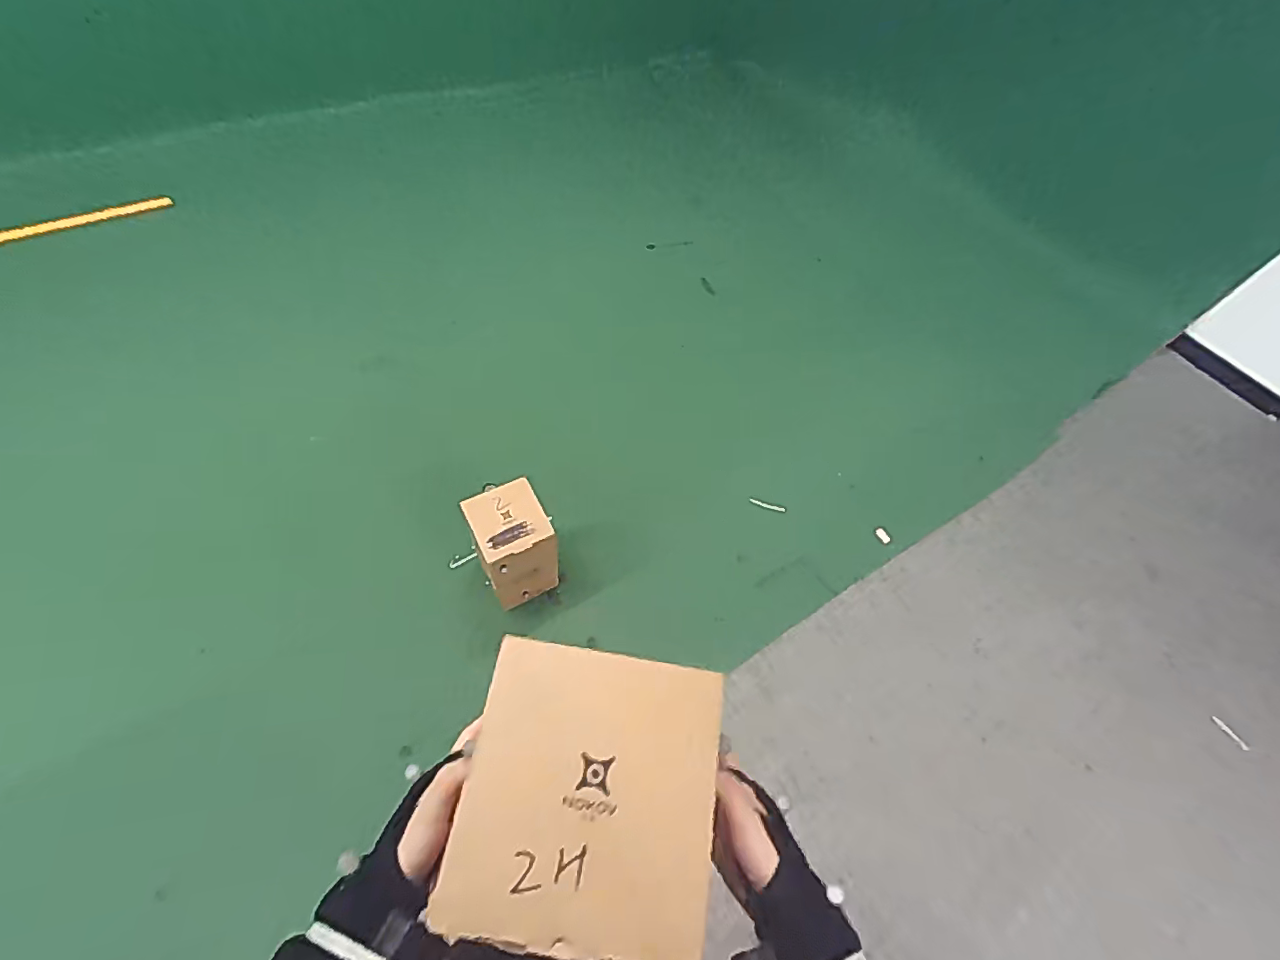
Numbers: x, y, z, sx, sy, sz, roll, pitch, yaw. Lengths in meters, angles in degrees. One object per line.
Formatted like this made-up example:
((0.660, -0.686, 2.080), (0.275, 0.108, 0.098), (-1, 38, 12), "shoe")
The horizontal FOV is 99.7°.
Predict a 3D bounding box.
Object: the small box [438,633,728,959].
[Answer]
((-0.035, 0.241, 0.430), (0.168, 0.176, 0.179), (11, 61, 0), "small box")

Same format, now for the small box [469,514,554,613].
((-0.341, 0.227, 1.448), (0.168, 0.176, 0.179), (-24, 65, -20), "small box")
